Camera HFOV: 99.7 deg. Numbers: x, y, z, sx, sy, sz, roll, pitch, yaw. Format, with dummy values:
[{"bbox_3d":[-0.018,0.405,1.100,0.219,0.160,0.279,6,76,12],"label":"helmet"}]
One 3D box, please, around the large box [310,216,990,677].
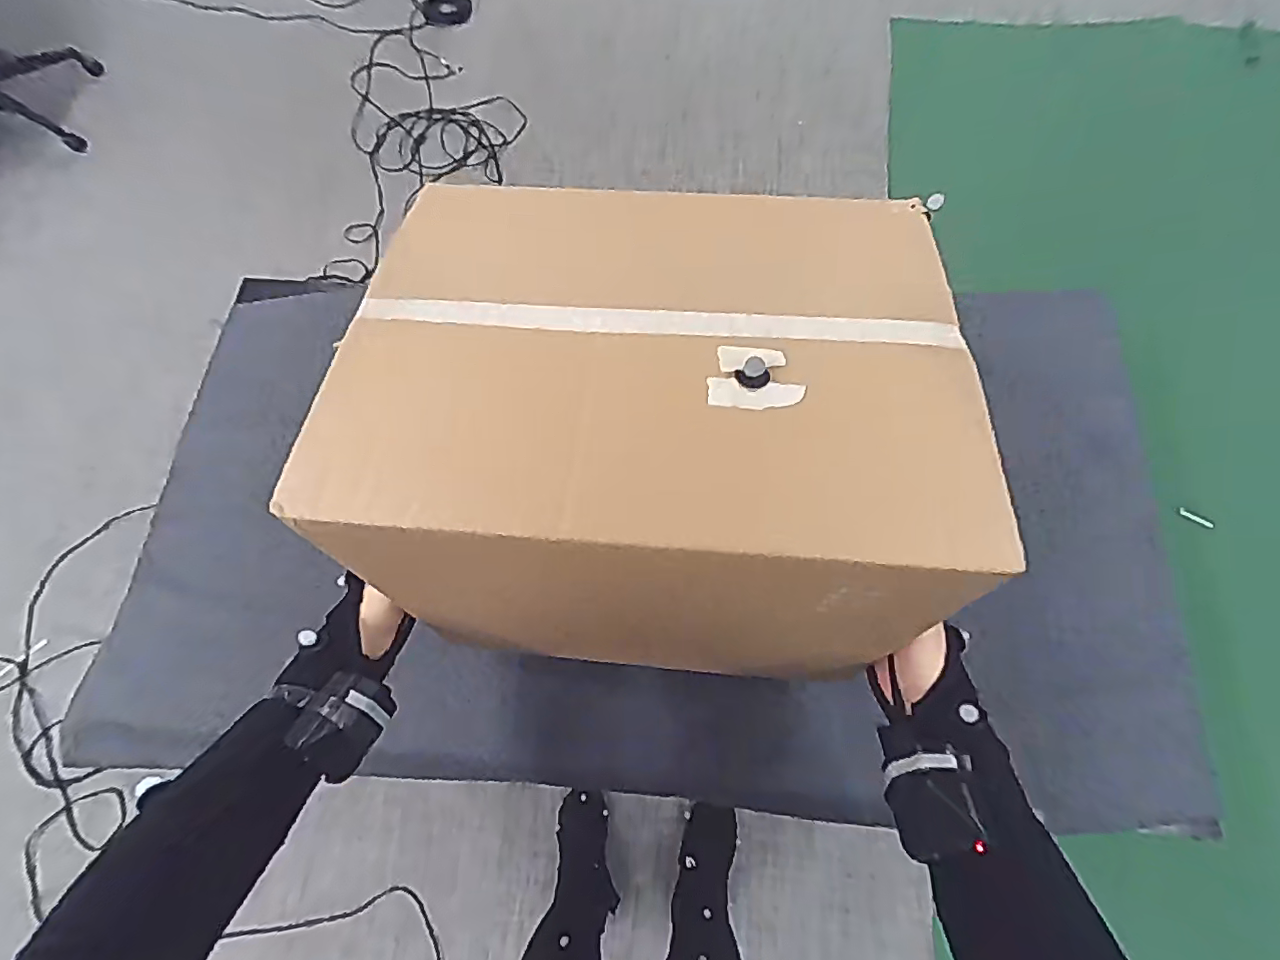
[{"bbox_3d":[0.012,-0.013,0.512,0.408,0.320,0.320,4,61,4],"label":"large box"}]
